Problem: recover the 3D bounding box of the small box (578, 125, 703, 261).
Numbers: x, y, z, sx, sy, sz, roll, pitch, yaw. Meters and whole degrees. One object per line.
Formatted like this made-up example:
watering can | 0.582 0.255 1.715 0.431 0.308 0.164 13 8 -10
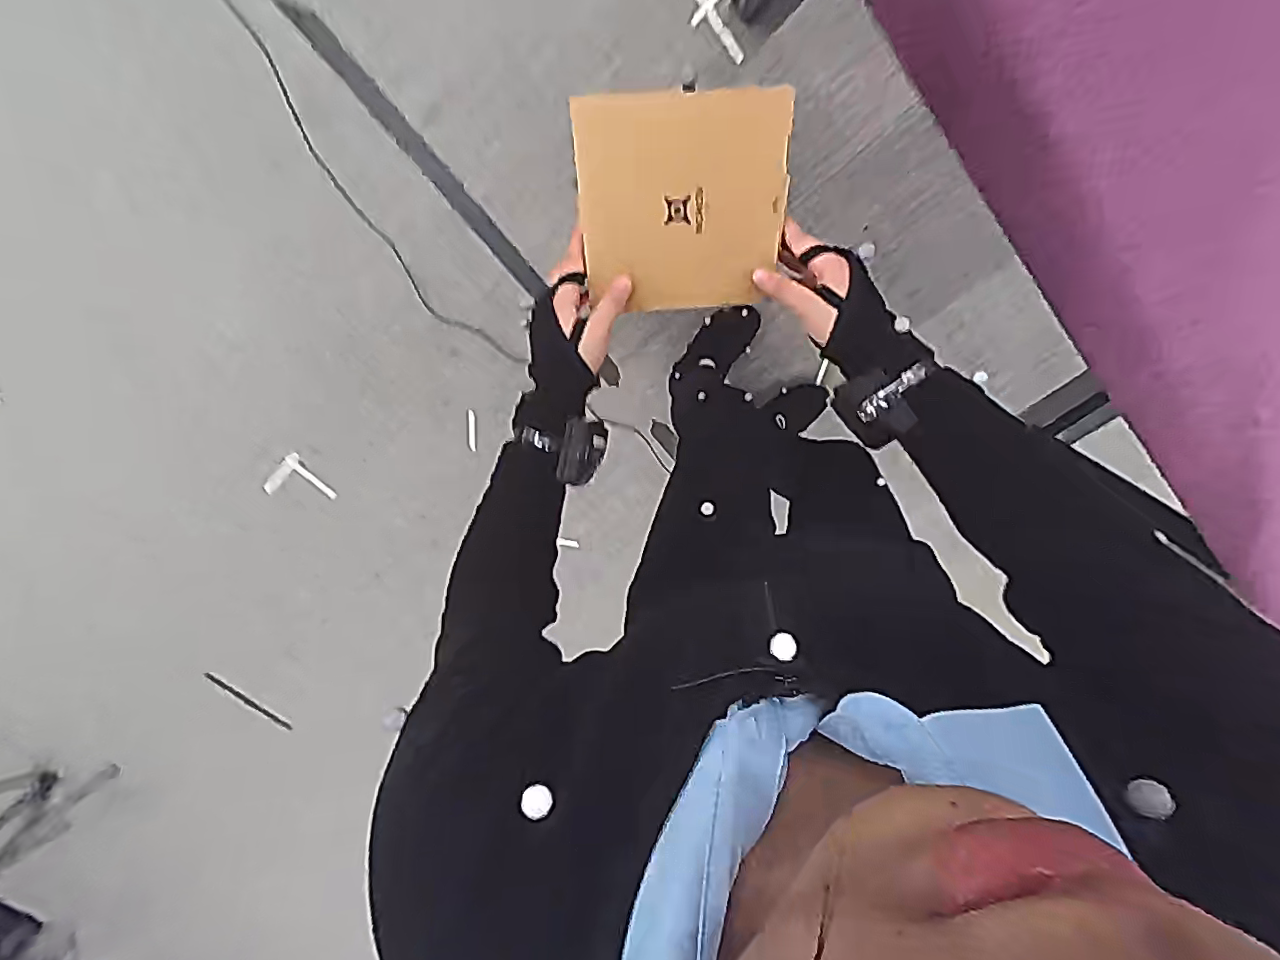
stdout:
small box | 0.008 -0.492 0.936 0.179 0.176 0.168 -10 116 10
